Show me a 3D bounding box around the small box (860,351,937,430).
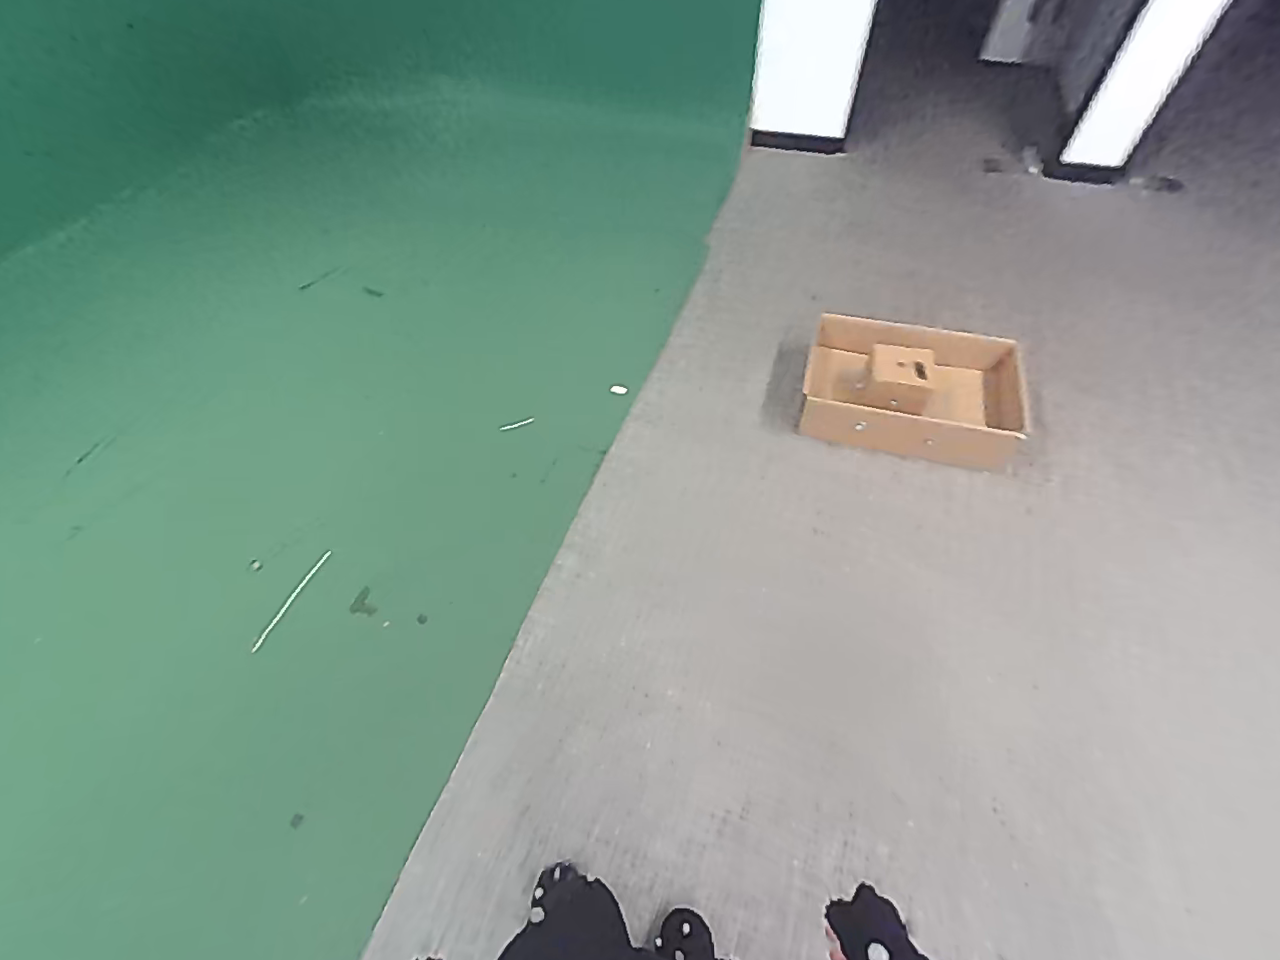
[{"bbox_3d":[0.802,-0.275,1.684,0.179,0.176,0.168,11,56,12],"label":"small box"}]
